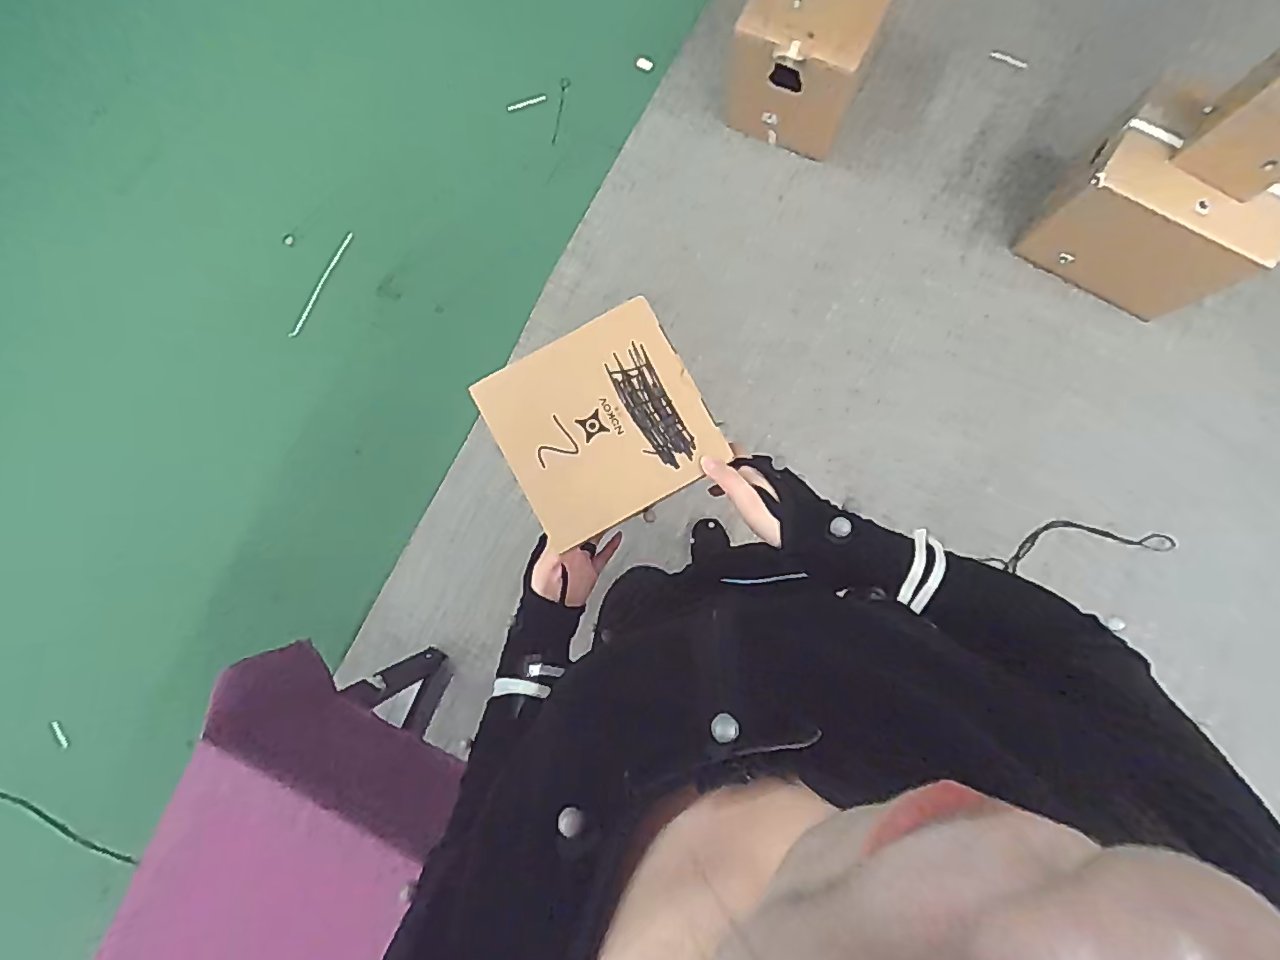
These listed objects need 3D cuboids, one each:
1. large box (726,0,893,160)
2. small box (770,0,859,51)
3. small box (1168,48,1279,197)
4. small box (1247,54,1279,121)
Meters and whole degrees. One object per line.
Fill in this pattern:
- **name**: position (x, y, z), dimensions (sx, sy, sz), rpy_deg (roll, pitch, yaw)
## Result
- **large box**: position (0.453, -1.169, 1.439), dimensions (0.320, 0.320, 0.408), rpy_deg (26, 87, 7)
- **small box**: position (0.402, -1.109, 1.192), dimensions (0.168, 0.176, 0.179), rpy_deg (28, 87, 7)
- **small box**: position (1.243, -0.707, 1.079), dimensions (0.179, 0.176, 0.168), rpy_deg (36, 87, 7)
- **small box**: position (1.230, -0.721, 0.916), dimensions (0.179, 0.176, 0.168), rpy_deg (38, 87, 8)
